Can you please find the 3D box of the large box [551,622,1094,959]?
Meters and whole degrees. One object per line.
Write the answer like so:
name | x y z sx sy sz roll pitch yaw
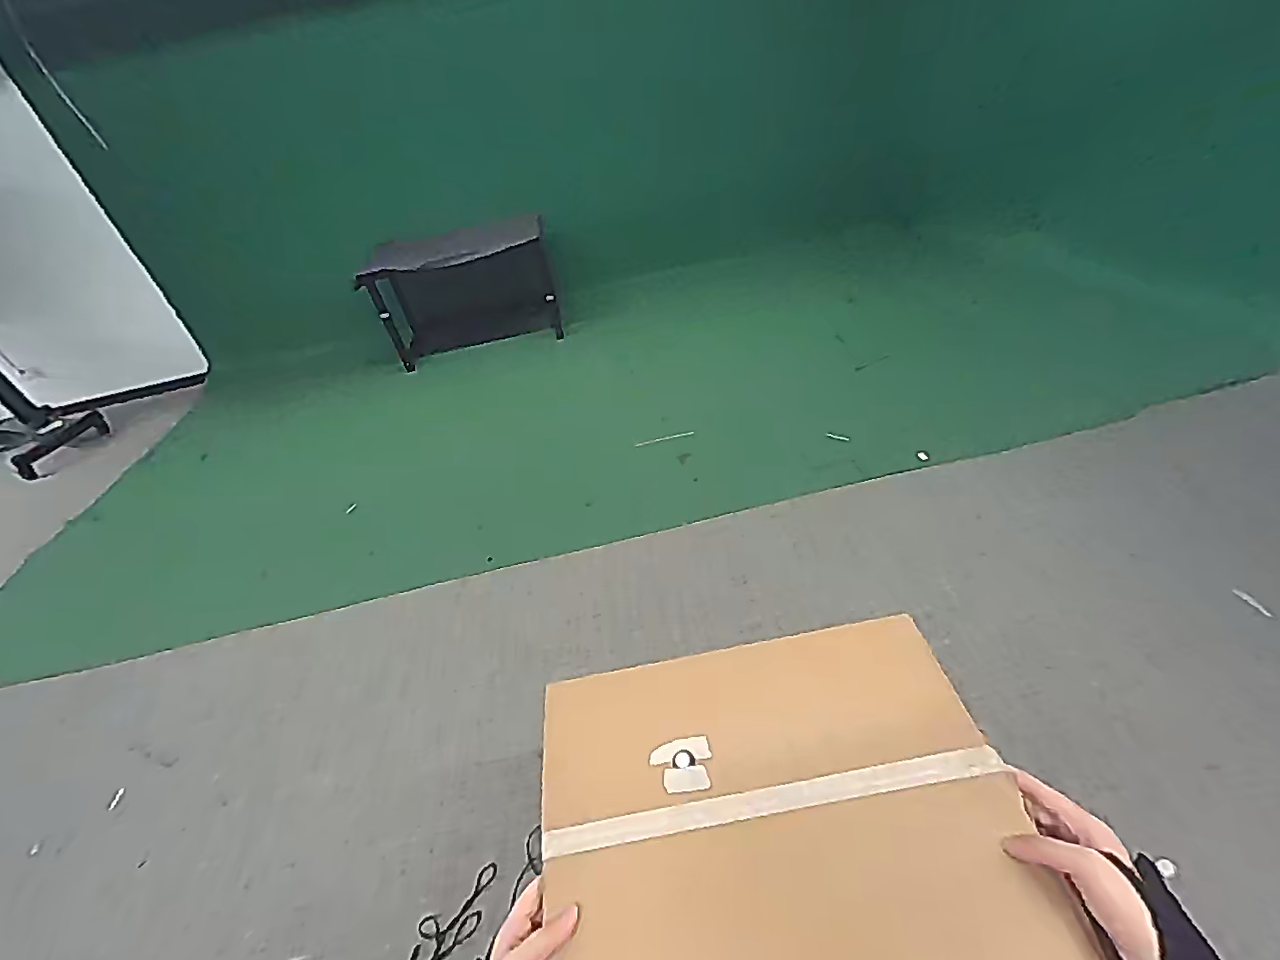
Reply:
large box | 0.143 0.406 0.584 0.408 0.320 0.320 -13 40 3
